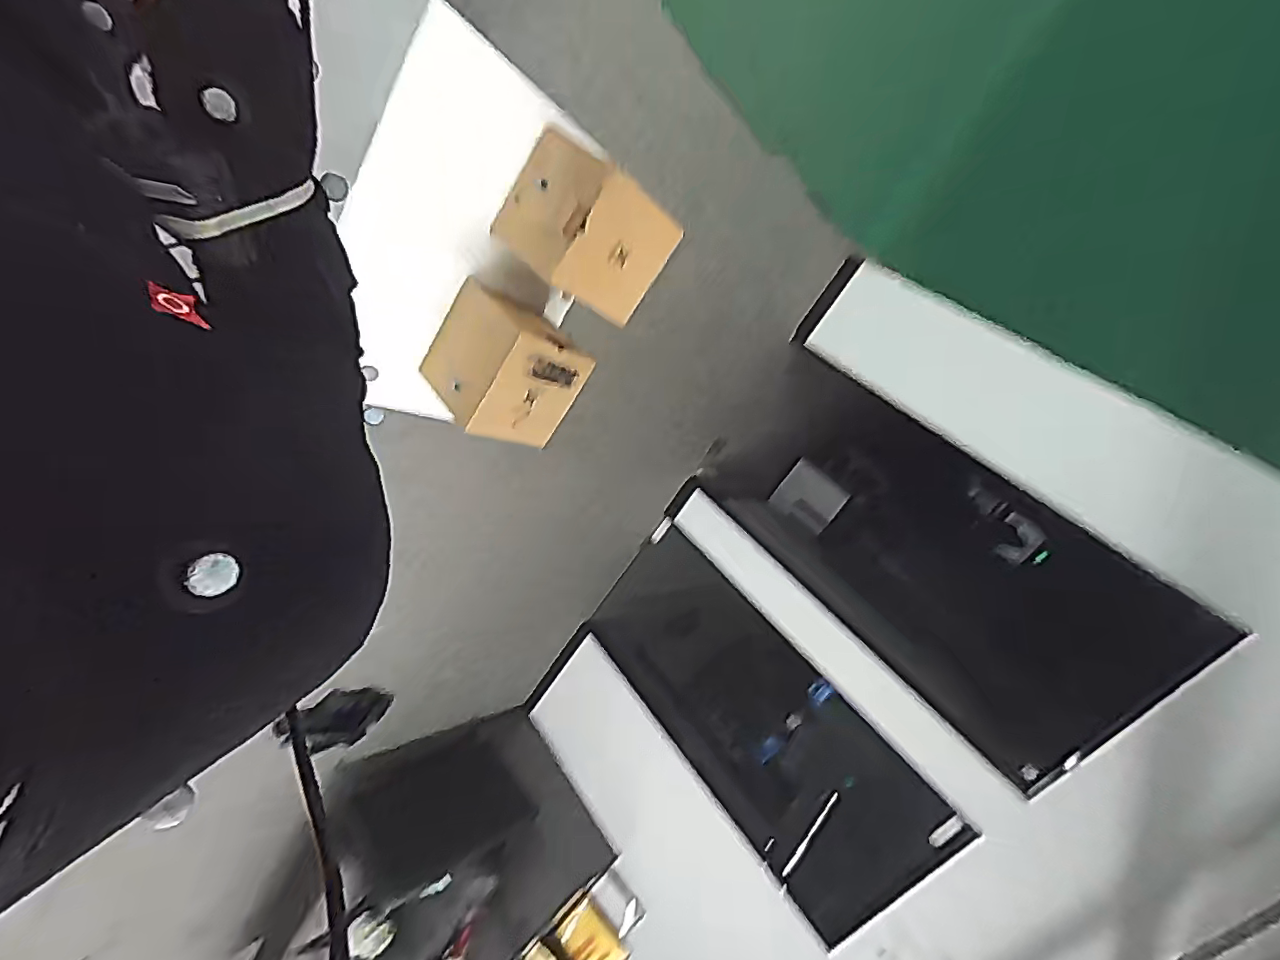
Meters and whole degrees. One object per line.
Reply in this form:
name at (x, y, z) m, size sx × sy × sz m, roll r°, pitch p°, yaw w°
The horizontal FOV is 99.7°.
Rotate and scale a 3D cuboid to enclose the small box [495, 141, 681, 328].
small box at (-0.078, -0.362, 0.805) m, size 0.168 × 0.176 × 0.179 m, roll -54°, pitch 149°, yaw 17°
